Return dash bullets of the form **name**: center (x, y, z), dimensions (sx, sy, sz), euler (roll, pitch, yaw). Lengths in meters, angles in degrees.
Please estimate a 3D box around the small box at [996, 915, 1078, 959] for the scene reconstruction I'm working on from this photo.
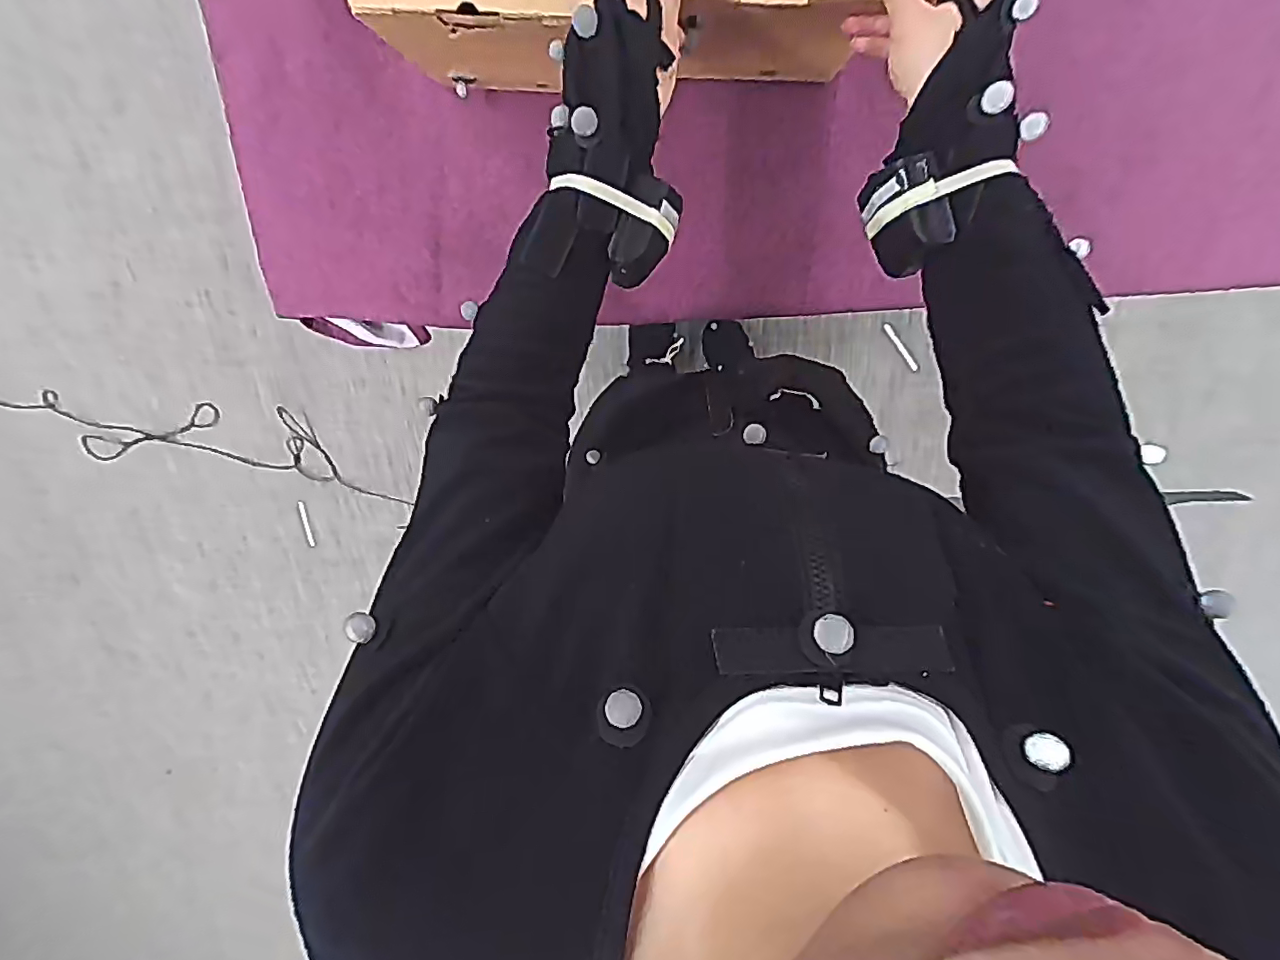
- **small box**: center (1.208, 1.460, 1.632), dimensions (0.168, 0.176, 0.179), euler (-6, 109, 4)
